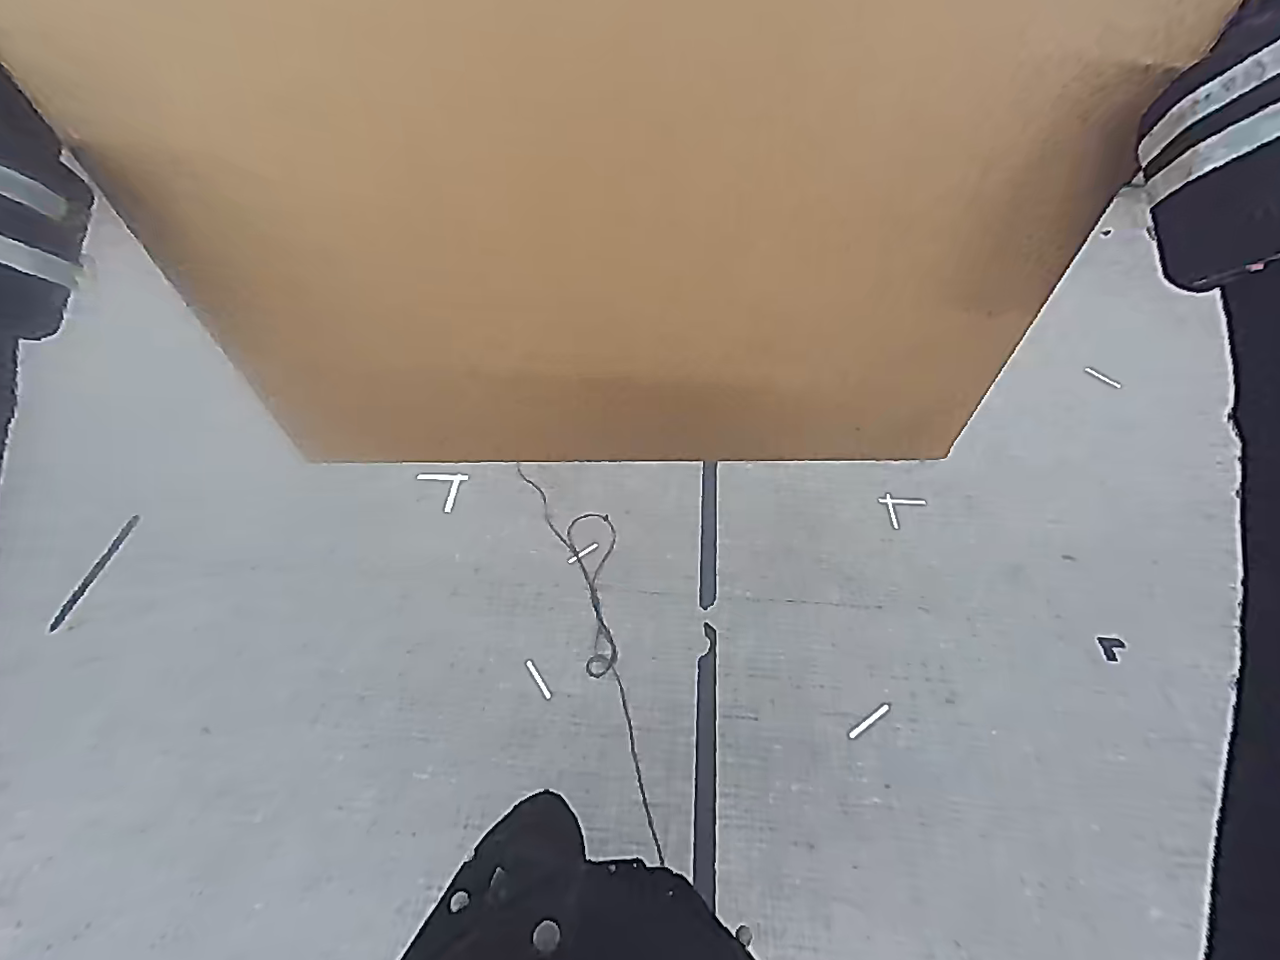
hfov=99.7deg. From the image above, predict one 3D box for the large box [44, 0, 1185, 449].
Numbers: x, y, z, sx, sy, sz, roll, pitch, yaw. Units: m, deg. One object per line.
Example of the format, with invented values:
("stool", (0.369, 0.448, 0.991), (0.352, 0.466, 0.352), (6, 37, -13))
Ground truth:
("large box", (-0.010, -0.232, 0.333), (0.408, 0.320, 0.320), (0, 51, -1))
